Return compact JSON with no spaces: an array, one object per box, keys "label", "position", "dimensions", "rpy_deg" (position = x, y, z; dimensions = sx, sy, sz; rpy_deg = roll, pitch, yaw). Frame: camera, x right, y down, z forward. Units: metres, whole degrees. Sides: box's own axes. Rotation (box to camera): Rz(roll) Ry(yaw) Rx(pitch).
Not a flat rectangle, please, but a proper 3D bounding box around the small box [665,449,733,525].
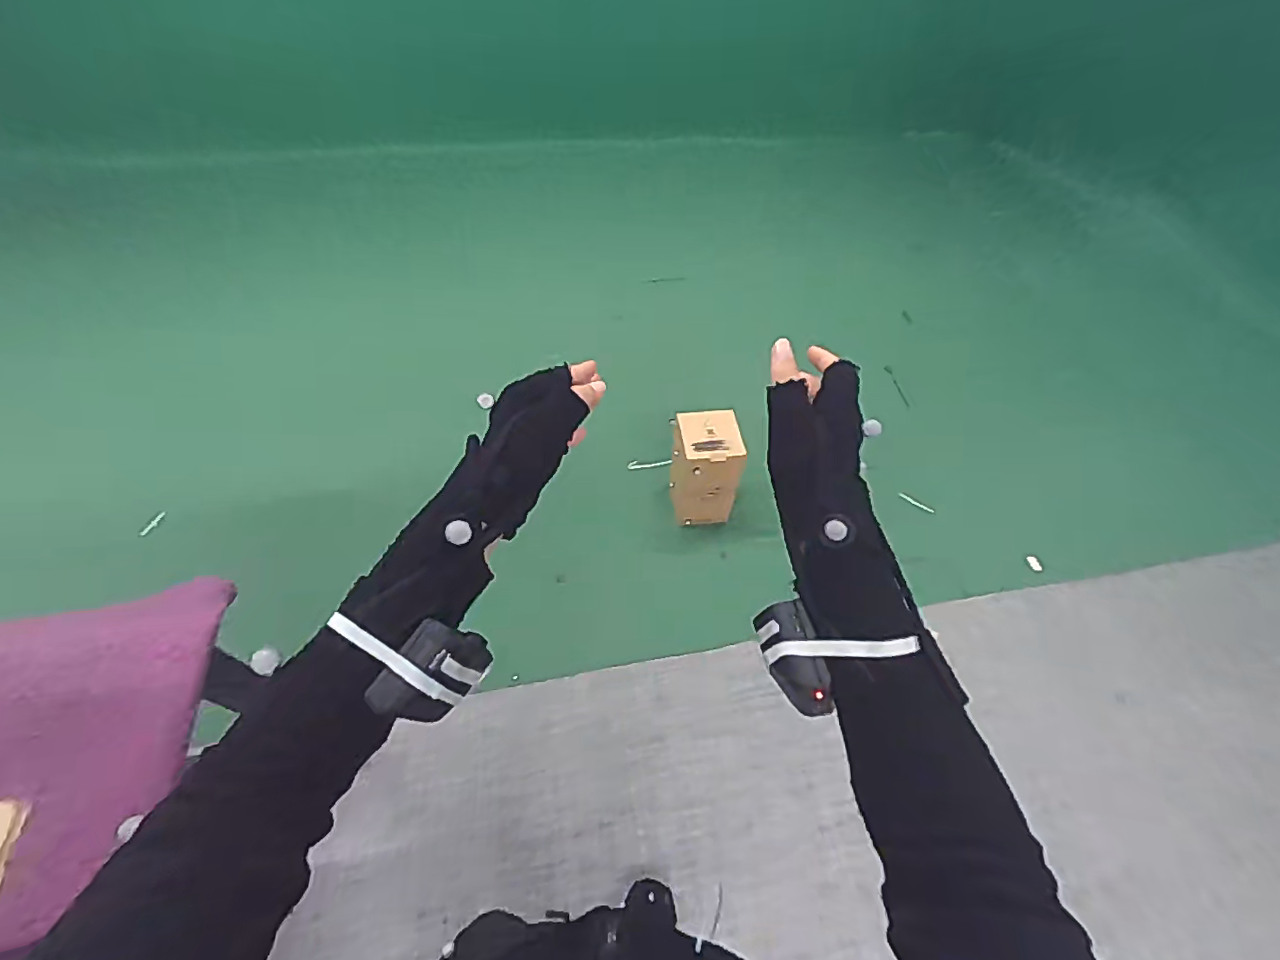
[{"label":"small box","position":[0.180,0.028,1.695],"dimensions":[0.168,0.176,0.179],"rpy_deg":[-7,56,-8]}]
